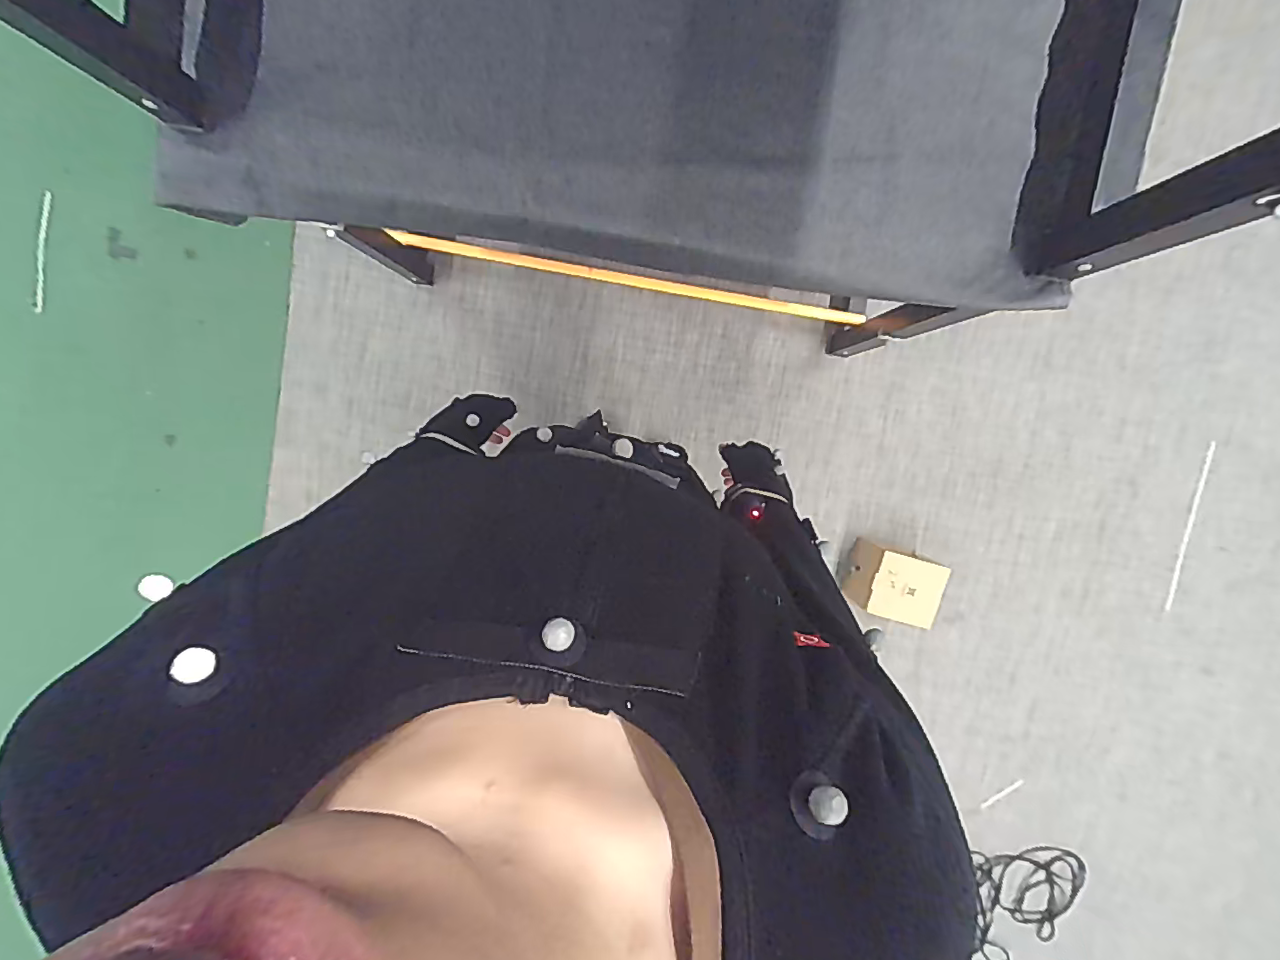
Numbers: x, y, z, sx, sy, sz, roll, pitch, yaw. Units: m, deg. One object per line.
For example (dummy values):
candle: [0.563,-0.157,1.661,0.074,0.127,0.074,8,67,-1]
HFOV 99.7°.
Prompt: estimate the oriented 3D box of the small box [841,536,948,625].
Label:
small box: [0.664,0.258,1.431,0.179,0.176,0.168,16,96,-1]
